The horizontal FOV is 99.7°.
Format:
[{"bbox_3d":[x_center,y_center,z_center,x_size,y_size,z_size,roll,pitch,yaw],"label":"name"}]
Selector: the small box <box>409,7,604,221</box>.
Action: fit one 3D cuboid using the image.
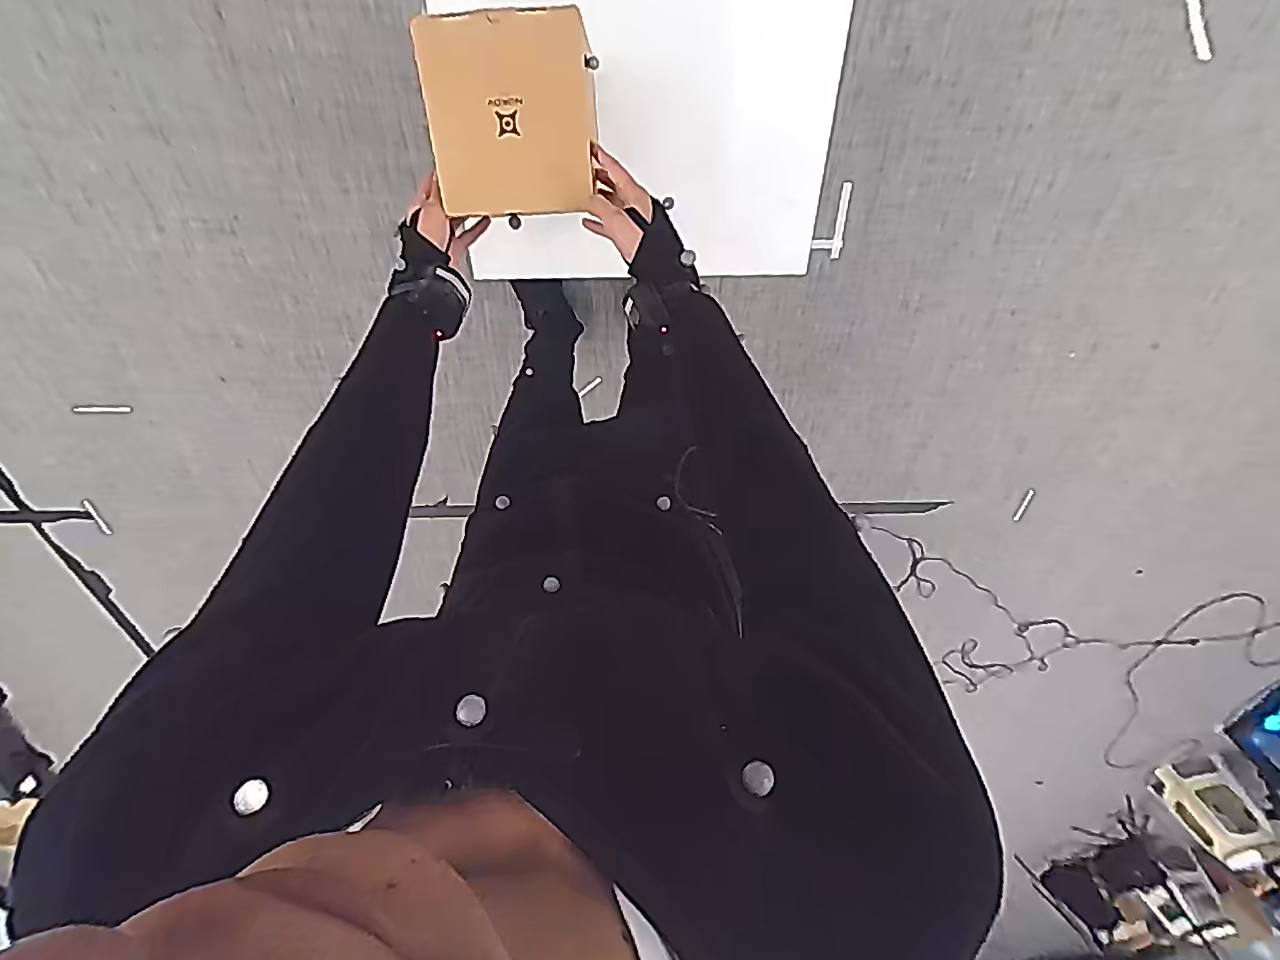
[{"bbox_3d":[-0.134,-0.400,0.620,0.168,0.176,0.179,-3,115,2],"label":"small box"}]
